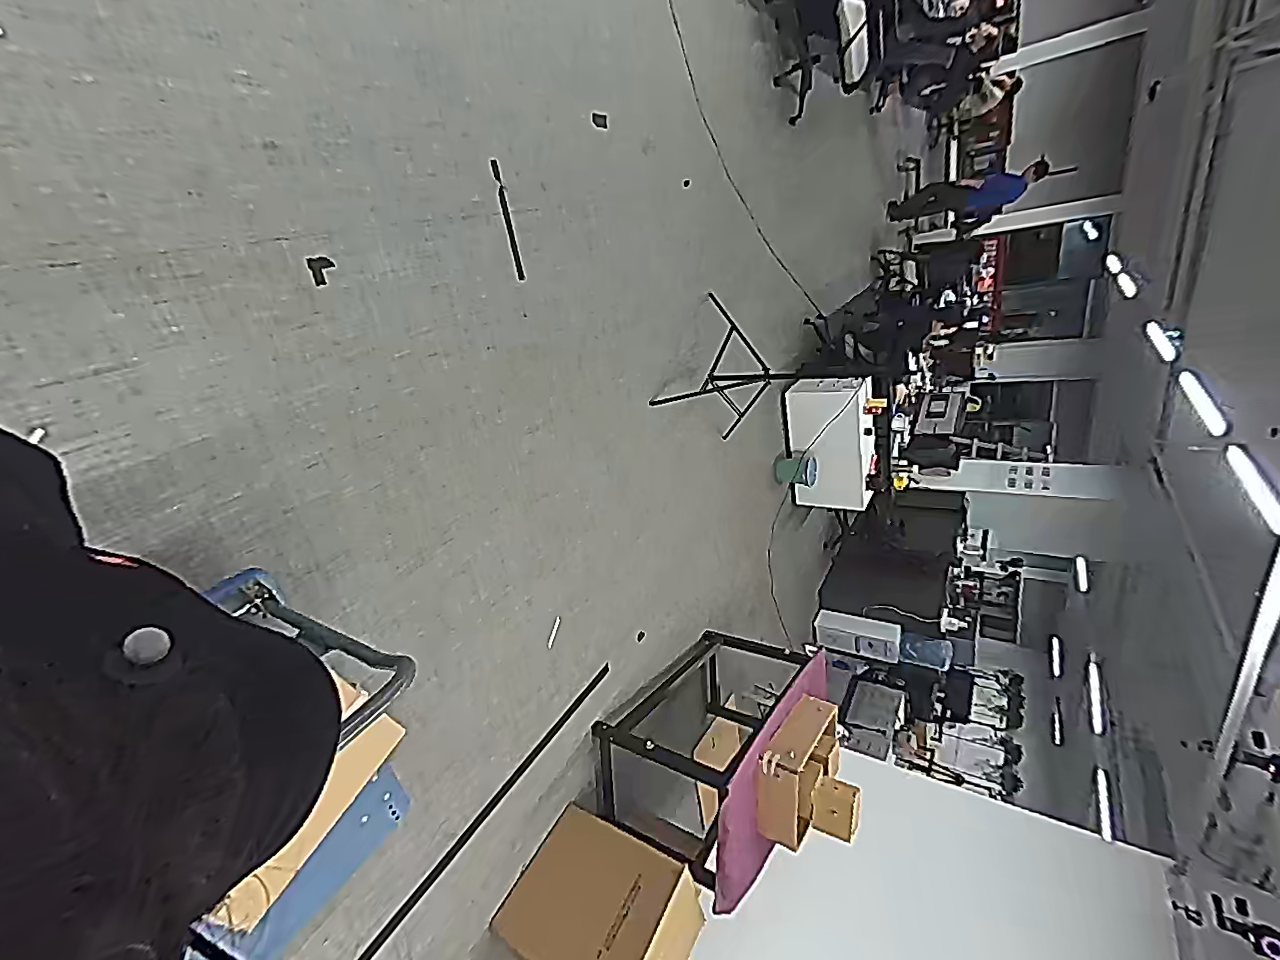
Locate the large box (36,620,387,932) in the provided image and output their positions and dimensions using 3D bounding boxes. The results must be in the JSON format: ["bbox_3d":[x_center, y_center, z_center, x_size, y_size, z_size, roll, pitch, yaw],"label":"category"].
[{"bbox_3d":[-0.819,0.557,1.080,0.408,0.320,0.320,-54,135,-36],"label":"large box"}]
